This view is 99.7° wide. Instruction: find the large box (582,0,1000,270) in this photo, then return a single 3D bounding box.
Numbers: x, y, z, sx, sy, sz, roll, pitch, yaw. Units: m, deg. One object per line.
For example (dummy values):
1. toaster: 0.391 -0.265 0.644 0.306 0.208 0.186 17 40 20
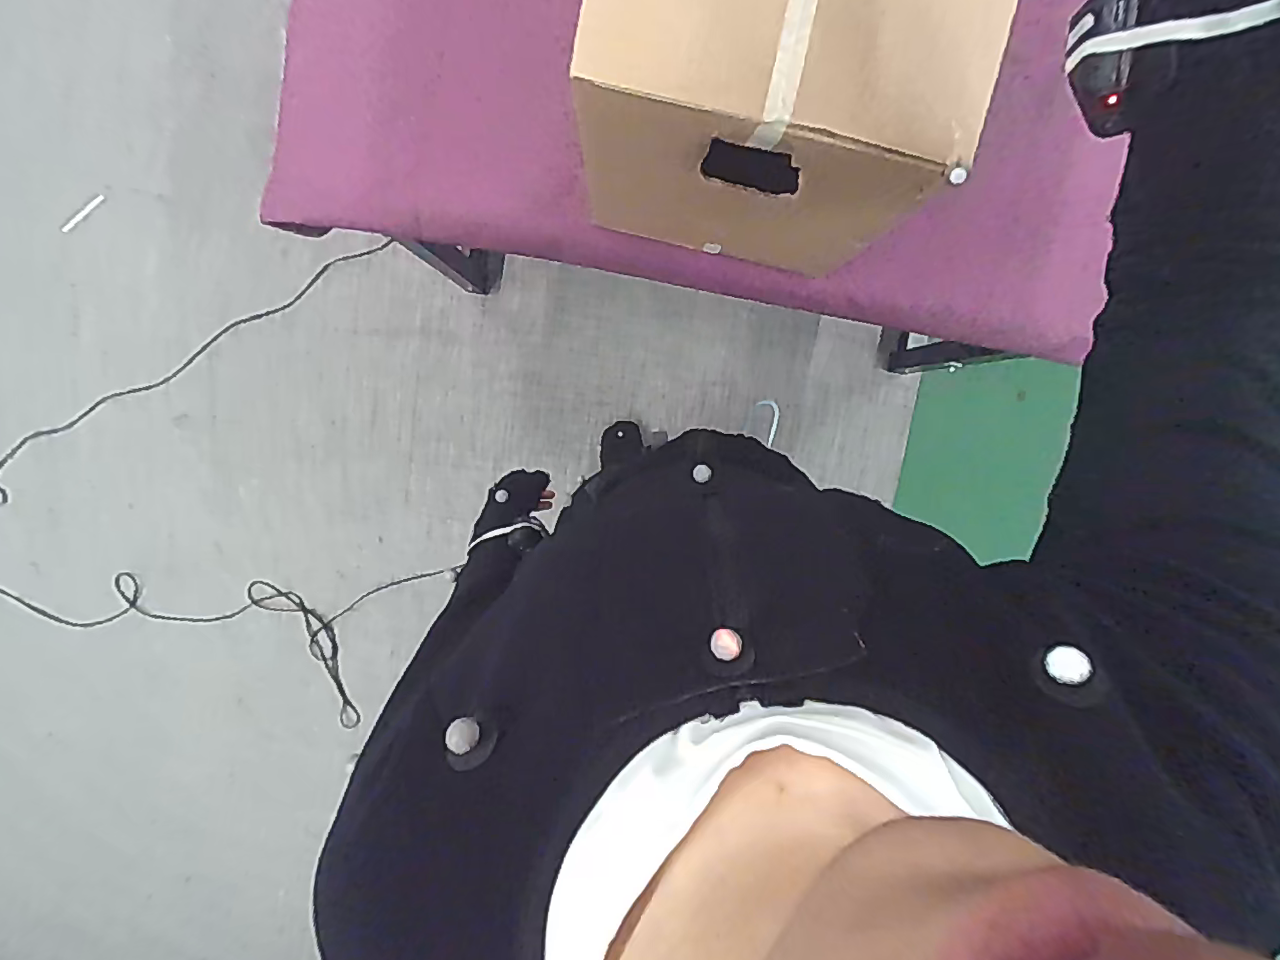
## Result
1. large box: 0.138 -0.484 0.548 0.320 0.320 0.408 12 97 -2
